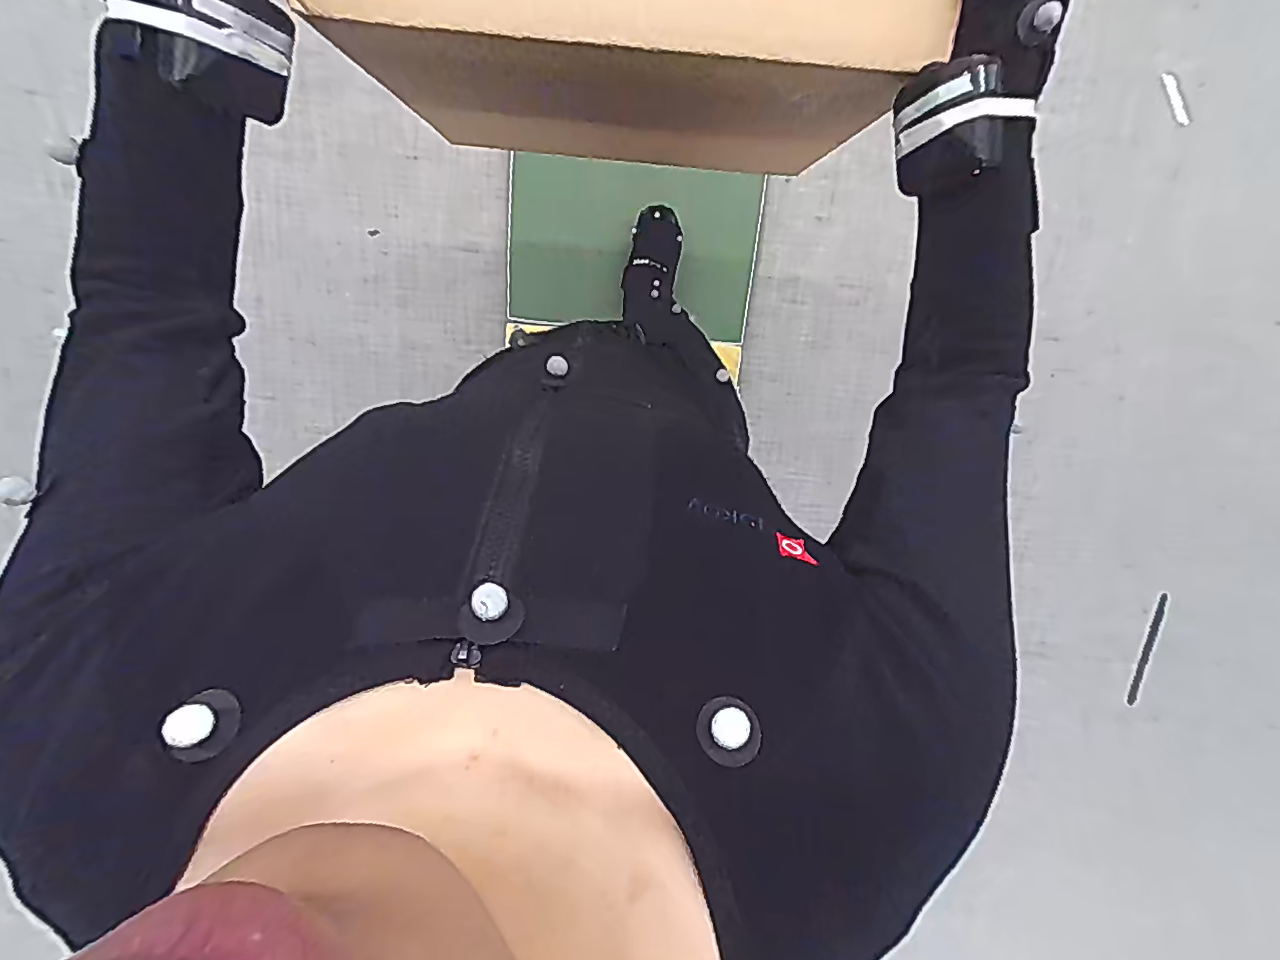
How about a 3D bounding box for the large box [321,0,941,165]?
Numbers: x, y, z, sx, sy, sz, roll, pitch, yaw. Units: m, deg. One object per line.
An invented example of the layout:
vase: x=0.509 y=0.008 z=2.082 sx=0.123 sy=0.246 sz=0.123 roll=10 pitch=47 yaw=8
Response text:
large box: x=-0.004 y=-0.476 z=0.444 sx=0.408 sy=0.320 sz=0.320 roll=2 pitch=109 yaw=-3
